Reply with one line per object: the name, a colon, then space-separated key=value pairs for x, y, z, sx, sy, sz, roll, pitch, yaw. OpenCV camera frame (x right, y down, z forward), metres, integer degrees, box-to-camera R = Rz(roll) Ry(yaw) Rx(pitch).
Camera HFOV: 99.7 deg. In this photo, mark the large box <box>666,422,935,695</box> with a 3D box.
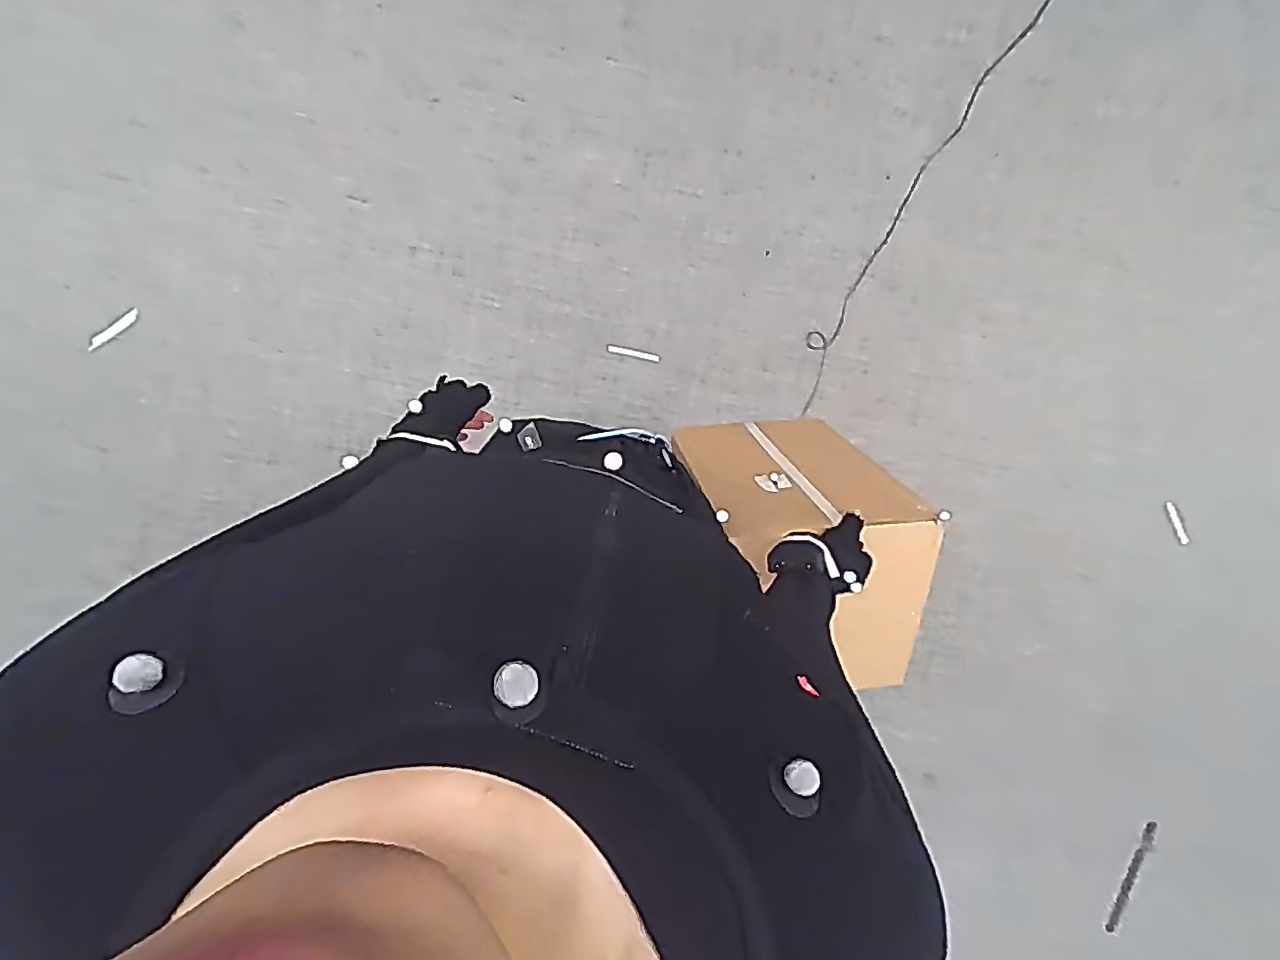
large box: x=0.237 y=0.114 z=0.984 sx=0.320 sy=0.408 sz=0.320 roll=-4 pitch=118 yaw=-6
